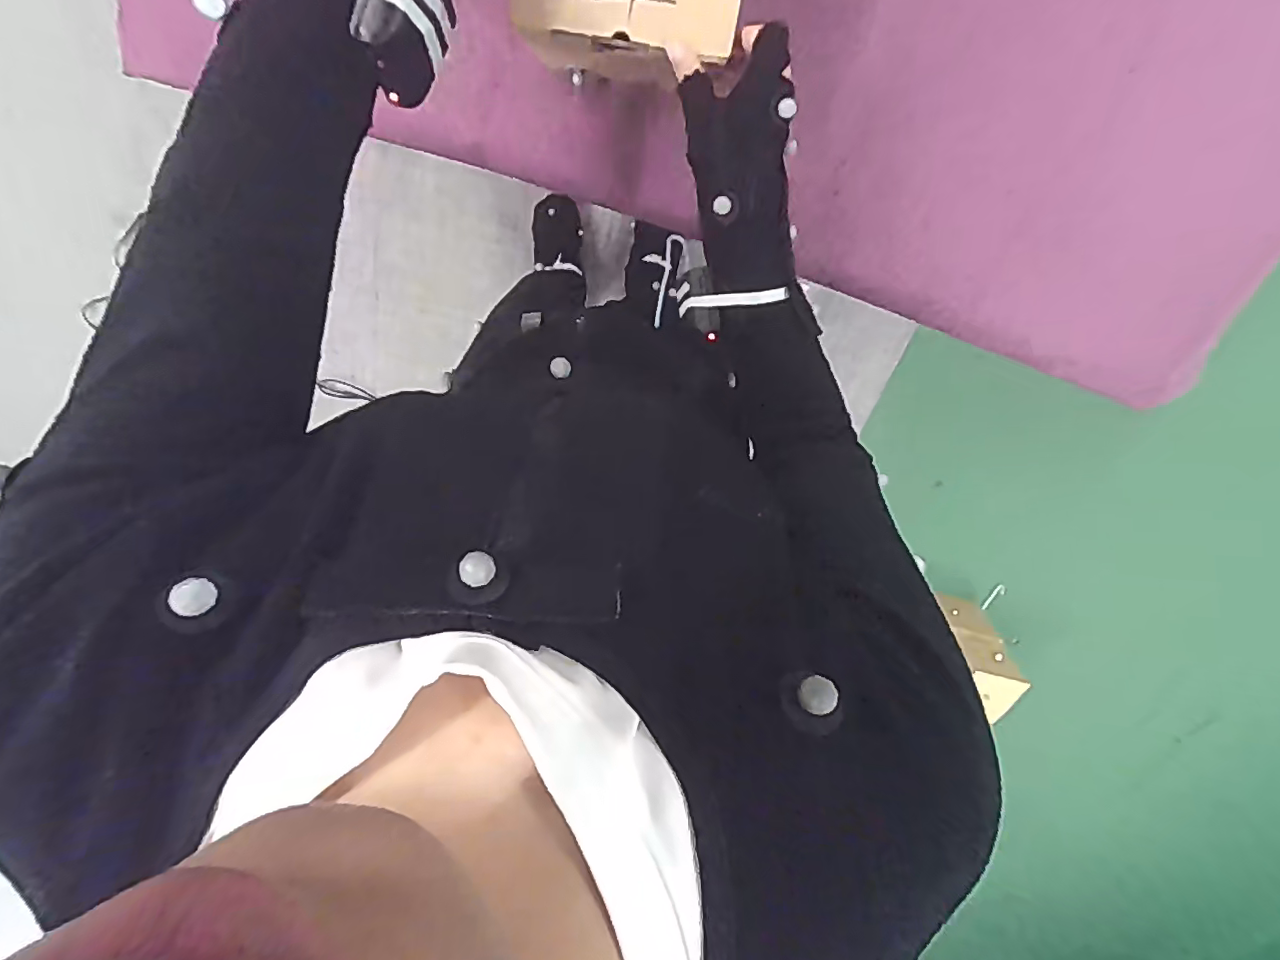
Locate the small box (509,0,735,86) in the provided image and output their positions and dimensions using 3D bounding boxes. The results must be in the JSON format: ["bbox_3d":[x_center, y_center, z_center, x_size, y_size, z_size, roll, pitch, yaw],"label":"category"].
[{"bbox_3d":[0.002,-0.436,0.426,0.168,0.176,0.179,9,119,-1],"label":"small box"}]

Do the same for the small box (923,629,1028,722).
[{"bbox_3d":[0.960,0.564,1.571,0.168,0.176,0.179,16,120,-4],"label":"small box"}]
